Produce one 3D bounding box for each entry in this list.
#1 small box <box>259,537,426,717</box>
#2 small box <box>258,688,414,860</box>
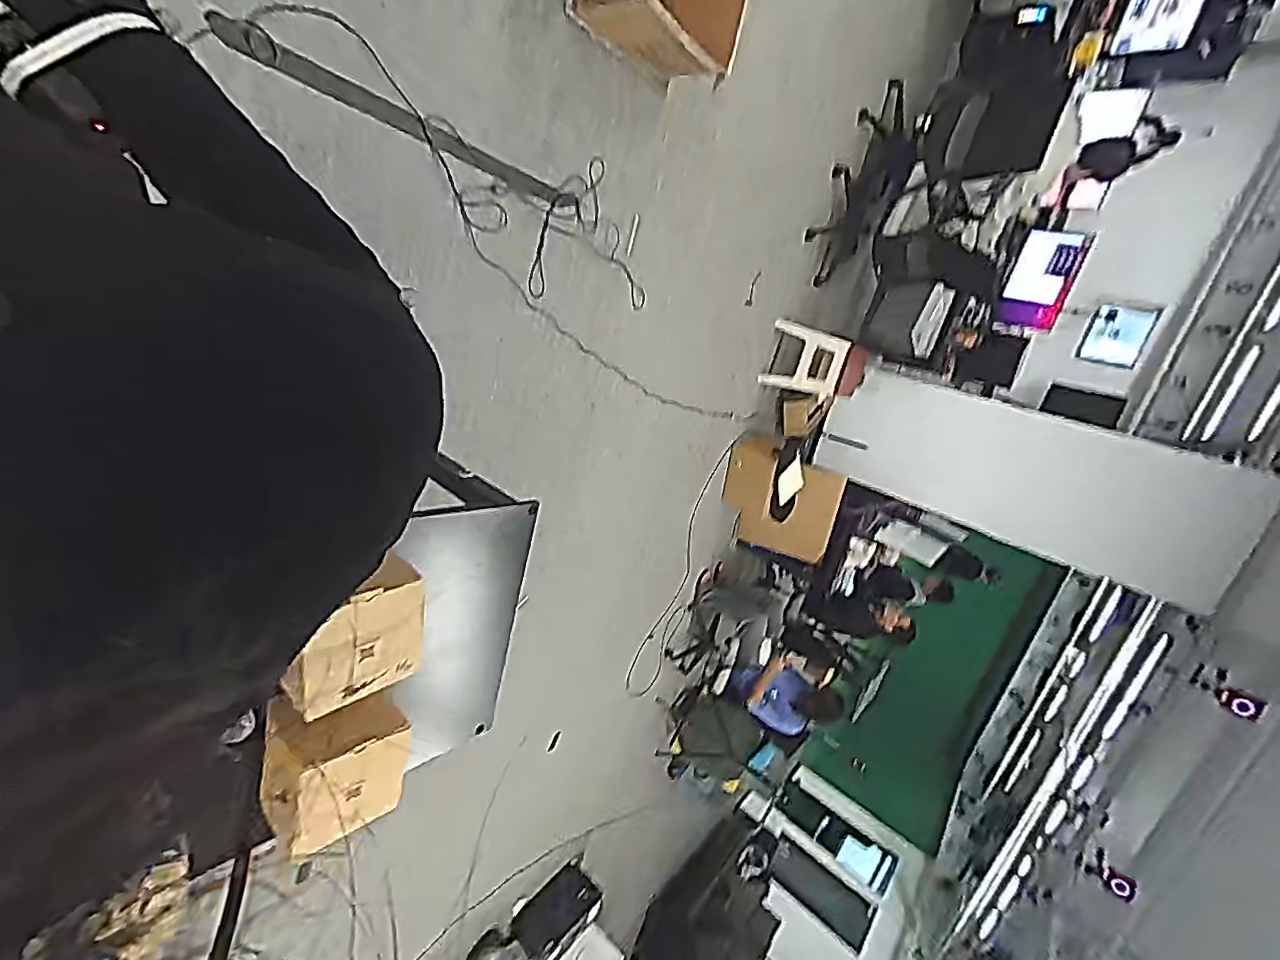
[{"bbox_3d":[-0.438,0.200,0.799,0.168,0.176,0.179,-15,122,-48],"label":"small box"},{"bbox_3d":[-0.499,0.450,0.882,0.168,0.176,0.179,-5,115,-52],"label":"small box"}]
